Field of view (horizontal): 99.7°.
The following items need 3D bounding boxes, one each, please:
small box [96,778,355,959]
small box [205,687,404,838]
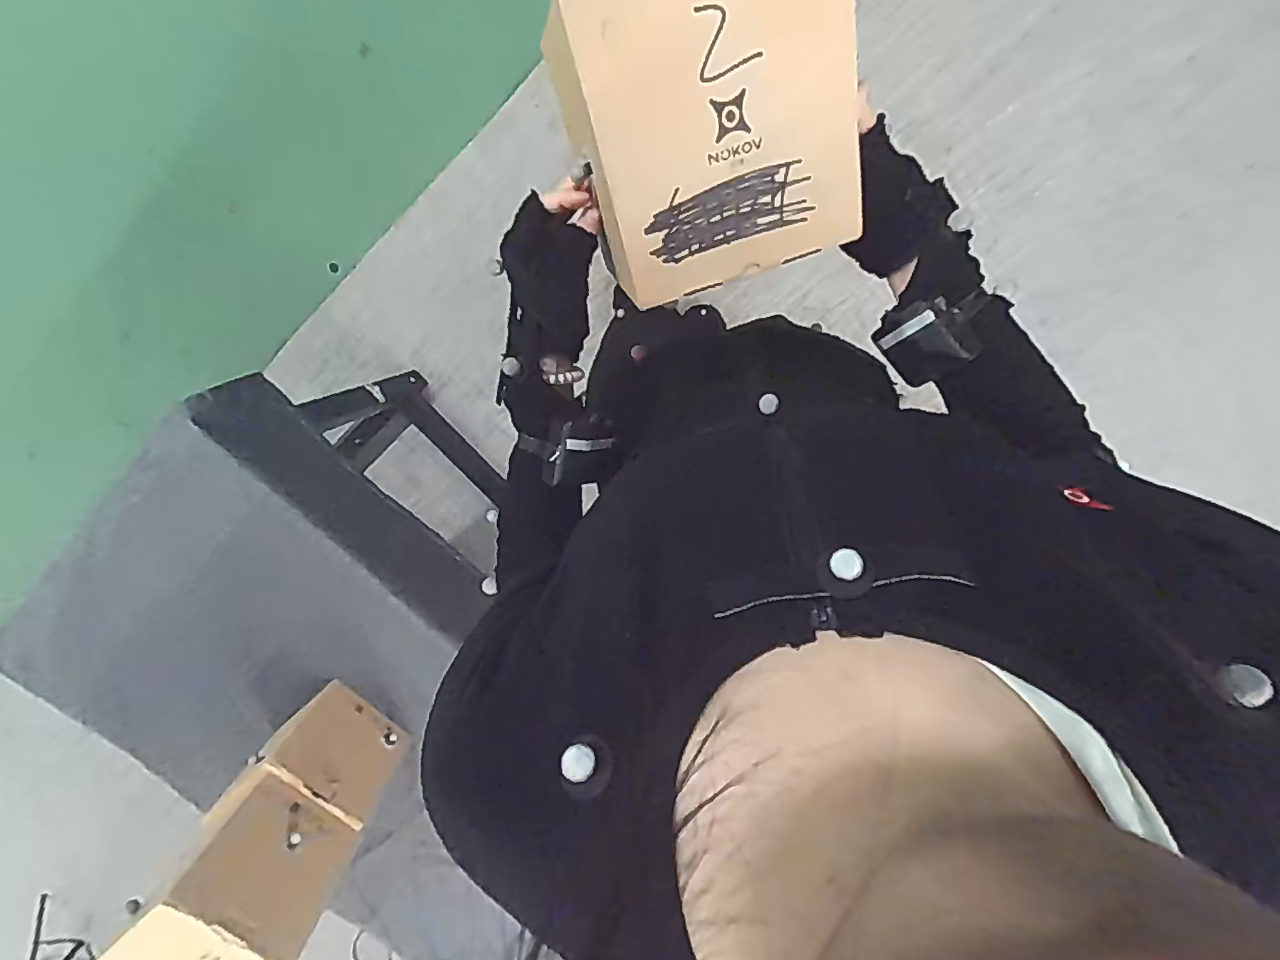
[{"bbox_3d":[-0.510,0.534,0.692,0.179,0.176,0.168,-42,102,14],"label":"small box"},{"bbox_3d":[-0.501,0.463,0.841,0.179,0.176,0.168,-40,102,15],"label":"small box"}]
